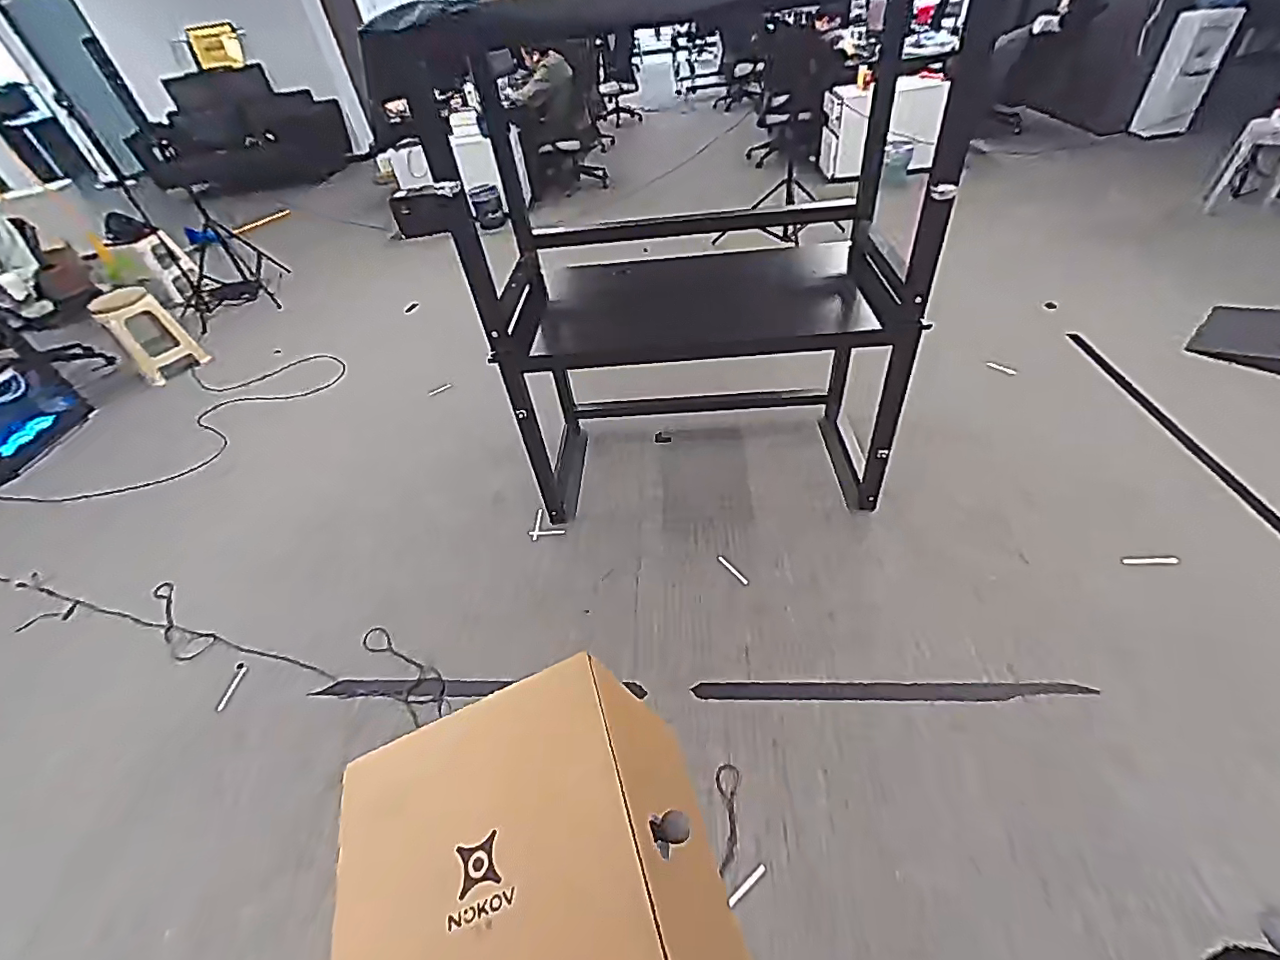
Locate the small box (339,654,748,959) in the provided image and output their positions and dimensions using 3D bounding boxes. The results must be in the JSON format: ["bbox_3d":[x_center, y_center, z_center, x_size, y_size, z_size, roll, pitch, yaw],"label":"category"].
[{"bbox_3d":[-0.050,0.243,0.326,0.168,0.176,0.179,-26,47,2],"label":"small box"}]

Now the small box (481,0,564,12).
[{"bbox_3d":[-0.236,-1.031,1.049,0.168,0.176,0.179,-4,41,3],"label":"small box"}]
